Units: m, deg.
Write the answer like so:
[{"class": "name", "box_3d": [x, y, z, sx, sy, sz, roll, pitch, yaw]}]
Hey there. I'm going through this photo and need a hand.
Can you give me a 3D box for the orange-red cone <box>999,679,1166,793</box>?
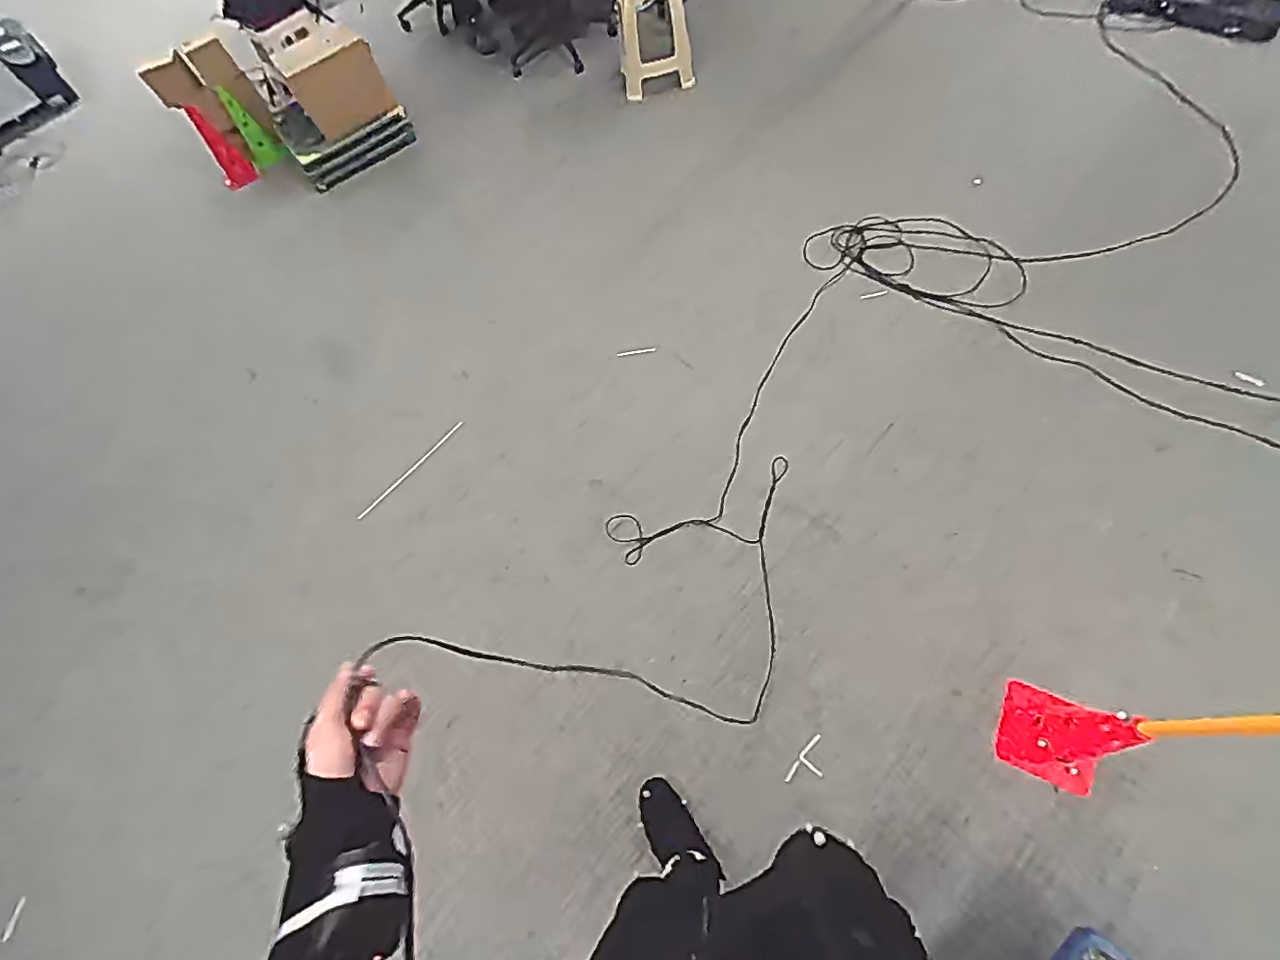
[{"class": "orange-red cone", "box_3d": [0.946, 0.519, 1.125, 0.198, 0.360, 0.199, 22, 67, 19]}]
